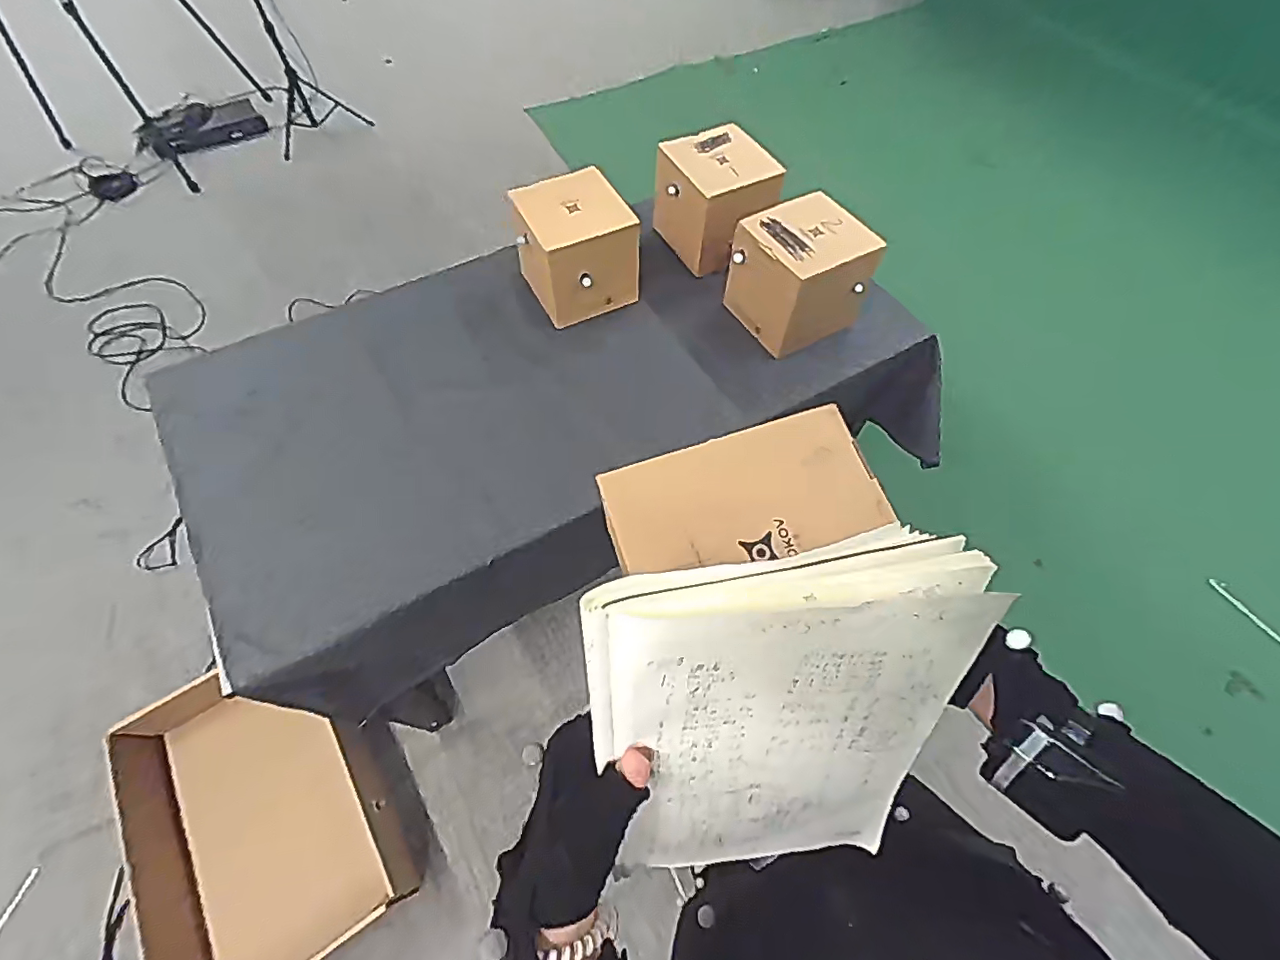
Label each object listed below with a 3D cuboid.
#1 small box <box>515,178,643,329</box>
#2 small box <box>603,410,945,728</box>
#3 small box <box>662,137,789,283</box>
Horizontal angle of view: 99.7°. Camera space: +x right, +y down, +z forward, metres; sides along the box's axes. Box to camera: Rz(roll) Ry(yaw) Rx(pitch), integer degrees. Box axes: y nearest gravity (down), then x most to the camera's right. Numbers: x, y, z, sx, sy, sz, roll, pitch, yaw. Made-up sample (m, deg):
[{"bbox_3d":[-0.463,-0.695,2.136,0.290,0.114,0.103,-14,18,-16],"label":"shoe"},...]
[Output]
[{"bbox_3d":[-0.103,-0.394,0.965,0.168,0.176,0.179,-24,62,-14],"label":"small box"},{"bbox_3d":[0.077,0.073,0.414,0.179,0.176,0.168,-16,69,-7],"label":"small box"},{"bbox_3d":[0.151,-0.513,1.035,0.168,0.176,0.179,-24,63,-14],"label":"small box"}]
